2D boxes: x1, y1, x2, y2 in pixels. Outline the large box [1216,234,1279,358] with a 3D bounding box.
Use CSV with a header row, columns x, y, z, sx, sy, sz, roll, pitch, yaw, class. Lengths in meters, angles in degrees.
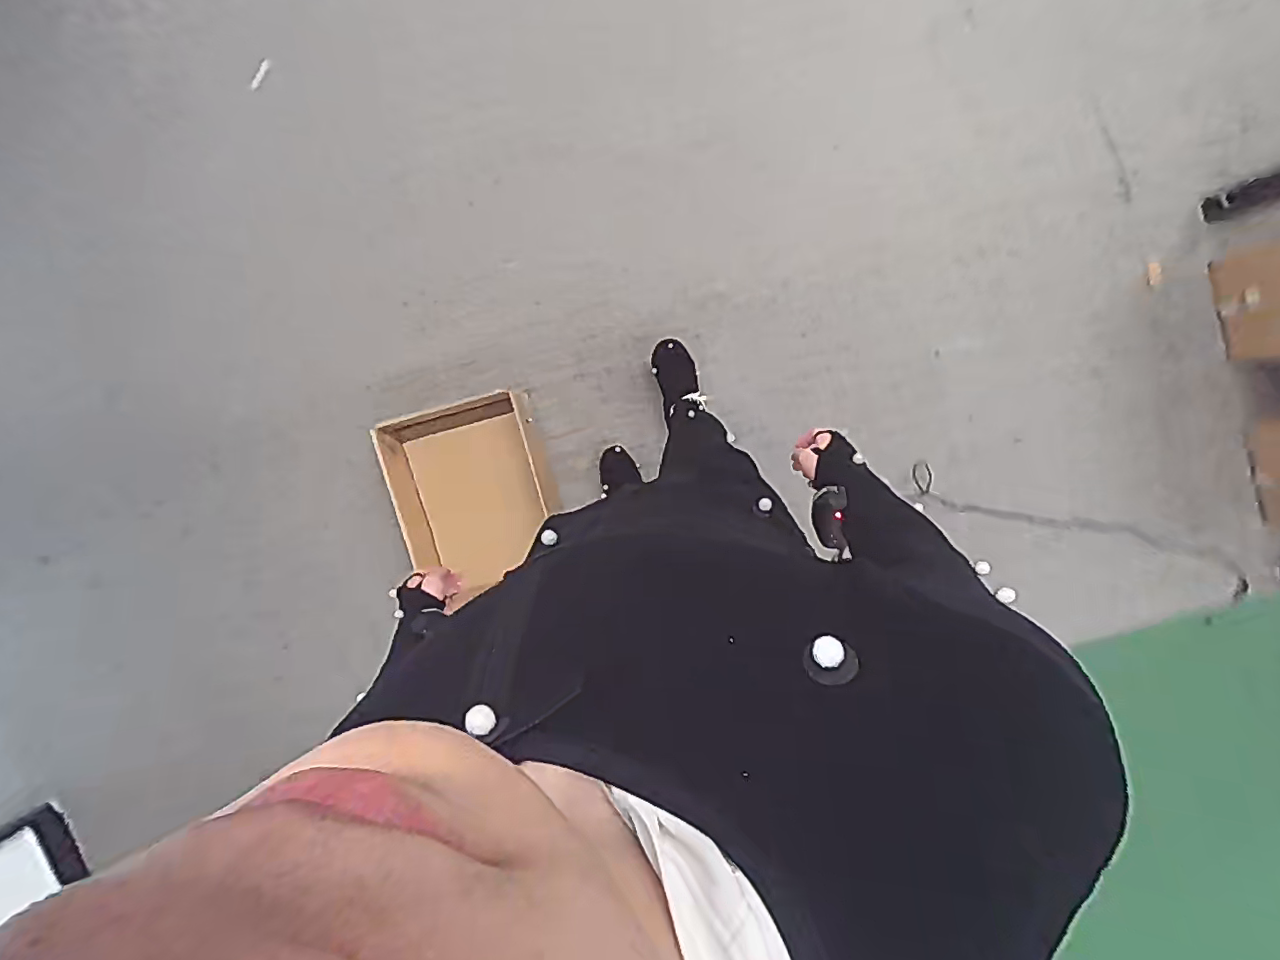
x,y,z,sx,sy,sz,roll,pitch,yaw,class
1.854,-0.538,1.383,0.408,0.320,0.320,-18,97,2,large box
